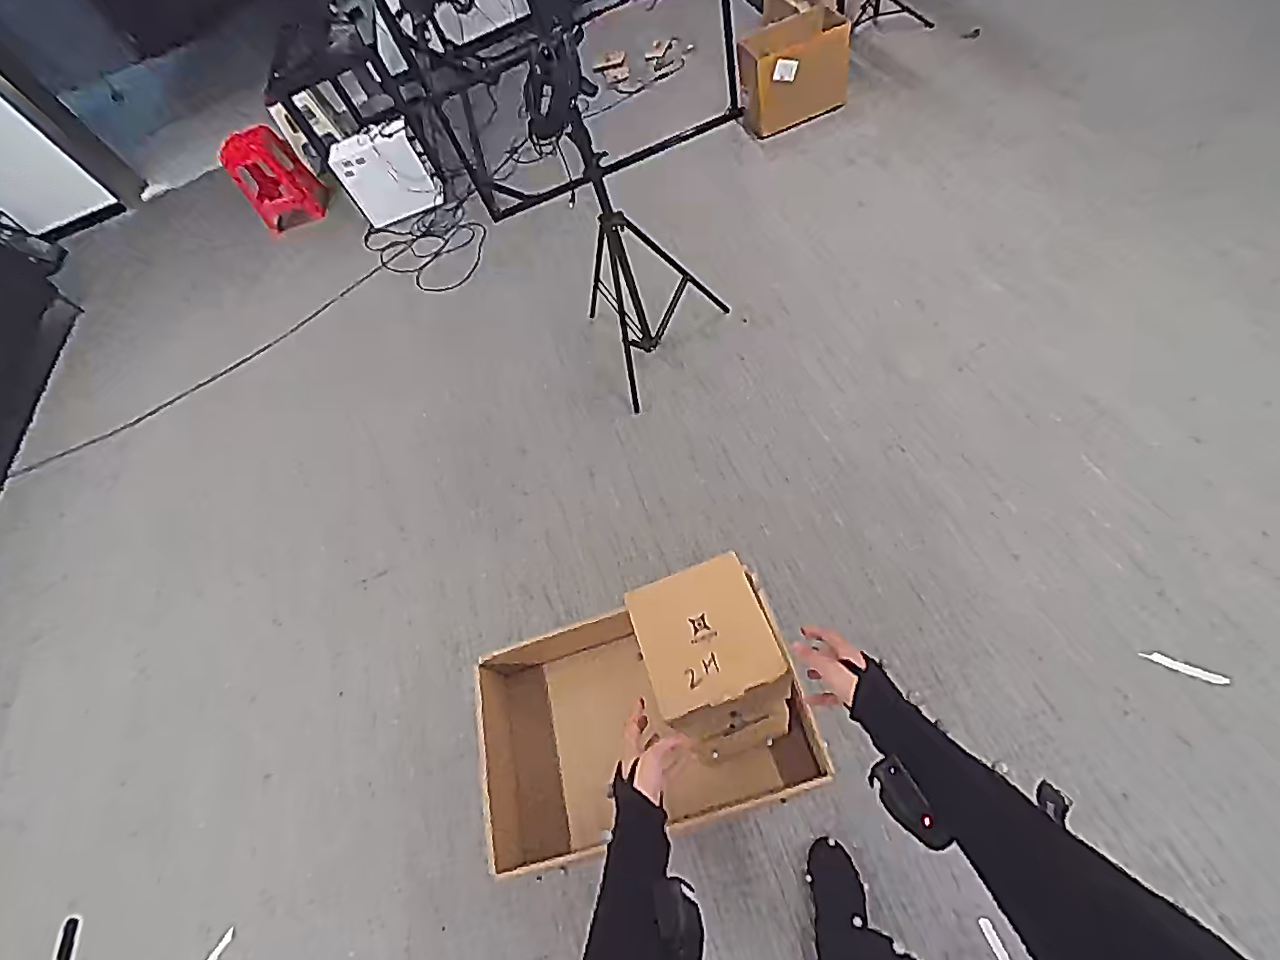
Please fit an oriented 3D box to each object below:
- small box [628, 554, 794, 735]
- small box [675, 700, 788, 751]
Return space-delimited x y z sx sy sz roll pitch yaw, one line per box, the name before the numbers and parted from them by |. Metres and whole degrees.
small box | 0.100 0.234 0.755 0.168 0.176 0.179 -22 58 2
small box | 0.133 0.329 0.886 0.168 0.176 0.179 -22 57 2
